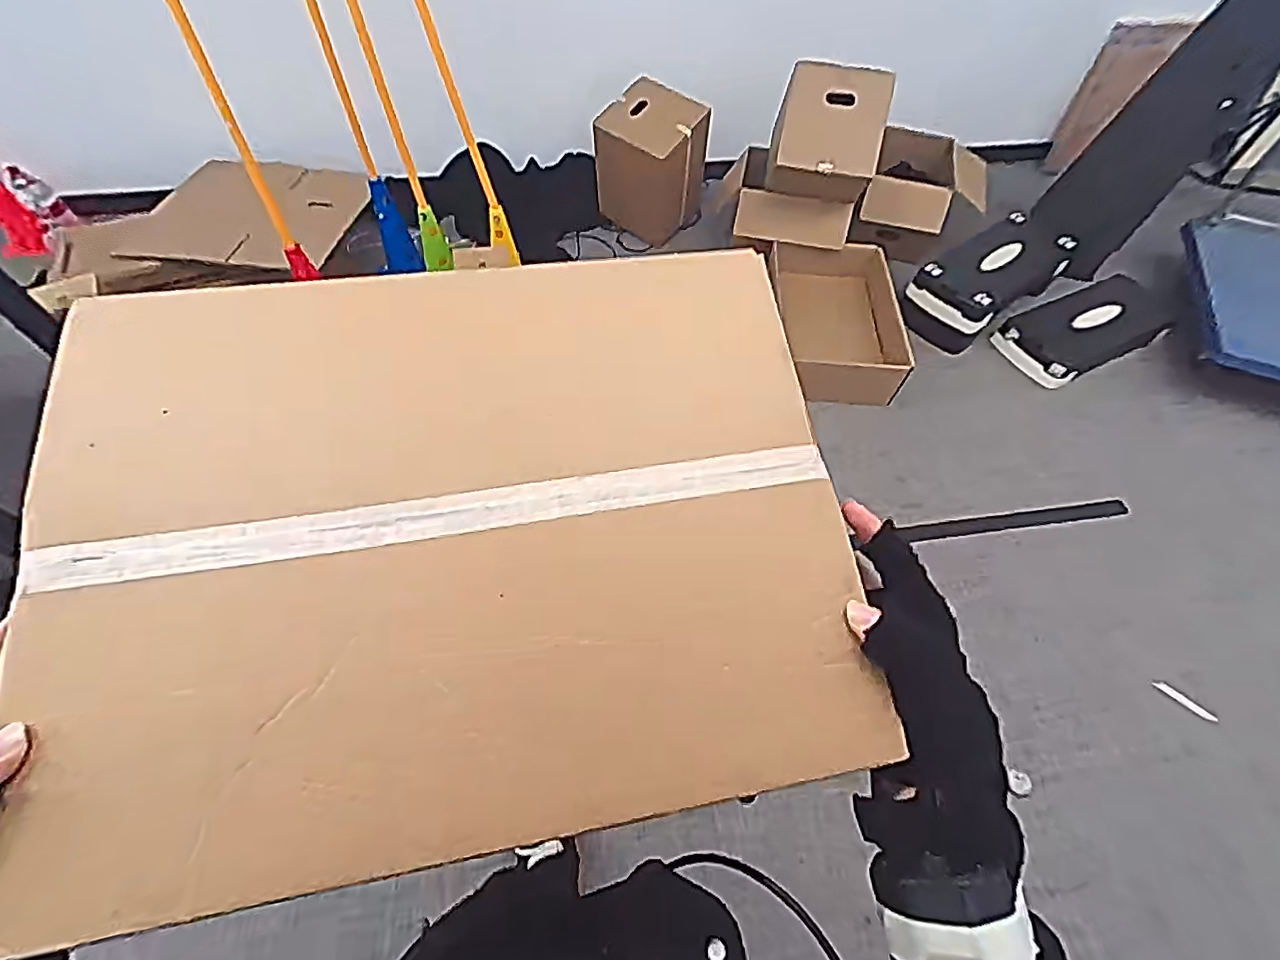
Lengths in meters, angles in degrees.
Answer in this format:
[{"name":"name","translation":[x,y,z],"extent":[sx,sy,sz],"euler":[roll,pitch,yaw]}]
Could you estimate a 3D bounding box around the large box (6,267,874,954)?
[{"name":"large box","translation":[-0.109,0.072,0.436],"extent":[0.408,0.320,0.320],"euler":[-8,71,-8]}]
